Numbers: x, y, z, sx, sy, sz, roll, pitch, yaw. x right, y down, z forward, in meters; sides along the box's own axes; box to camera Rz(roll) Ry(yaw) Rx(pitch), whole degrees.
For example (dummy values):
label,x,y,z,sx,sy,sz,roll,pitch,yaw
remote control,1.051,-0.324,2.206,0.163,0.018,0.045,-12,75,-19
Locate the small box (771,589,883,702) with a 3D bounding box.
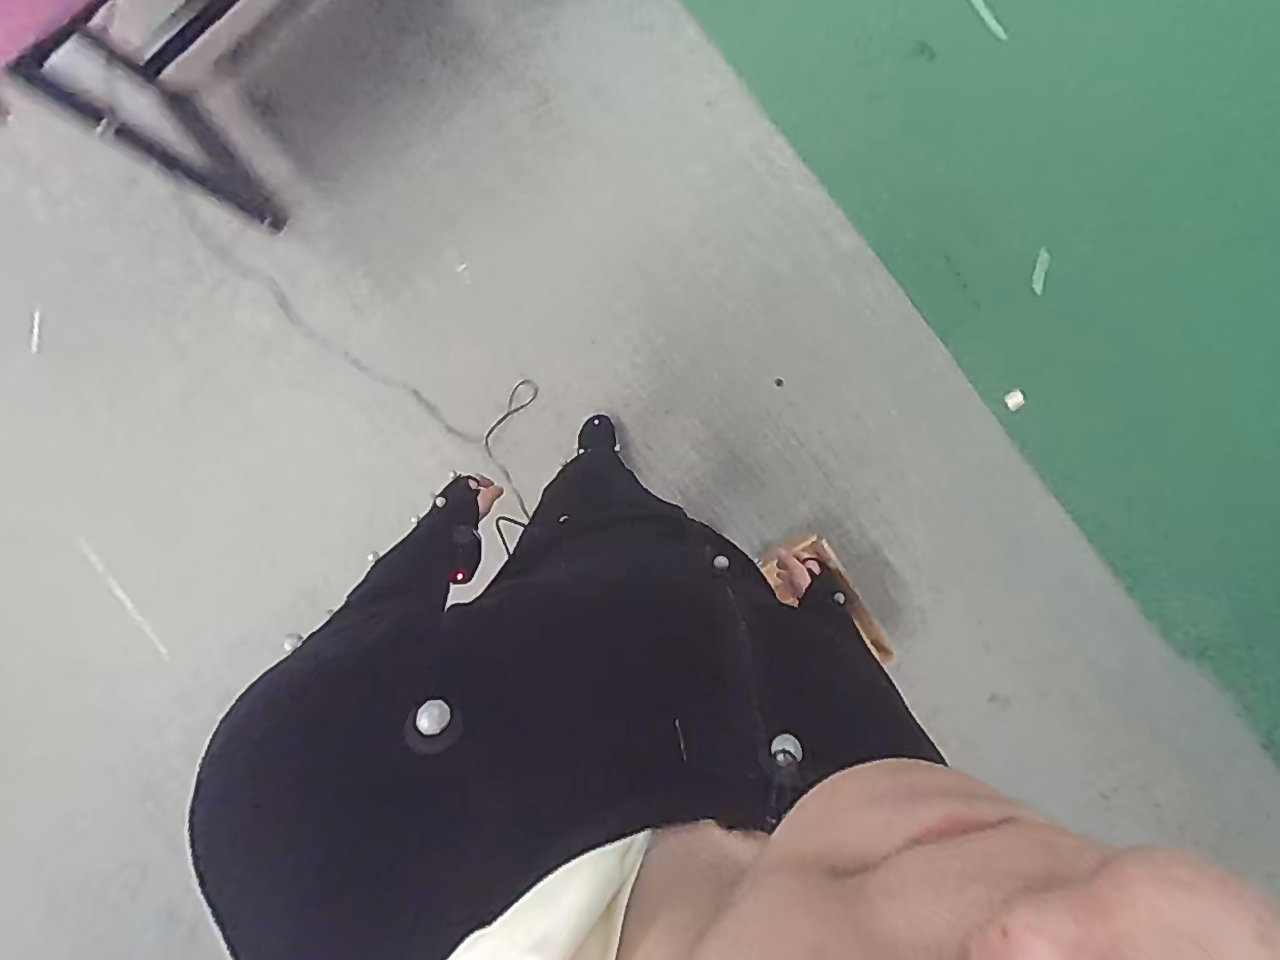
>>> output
label,x,y,z,sx,sy,sz,roll,pitch,yaw
small box,0.445,0.393,1.314,0.168,0.176,0.179,-35,91,3
